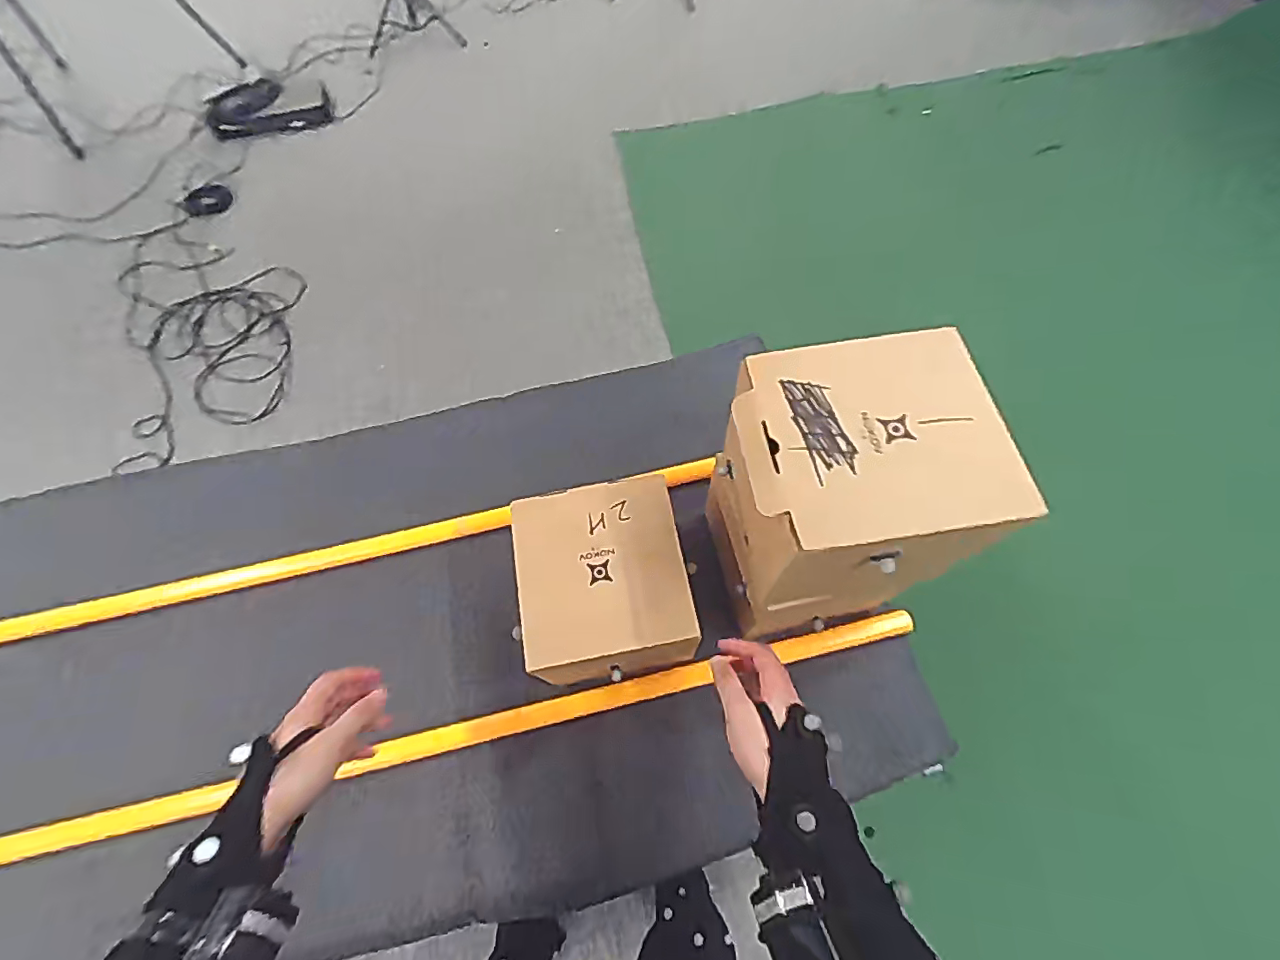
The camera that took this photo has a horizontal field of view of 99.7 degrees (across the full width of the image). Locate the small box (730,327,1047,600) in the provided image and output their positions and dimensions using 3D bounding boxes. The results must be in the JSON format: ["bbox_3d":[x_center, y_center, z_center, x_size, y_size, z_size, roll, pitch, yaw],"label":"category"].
[{"bbox_3d":[0.180,-0.003,0.464,0.179,0.176,0.168,-8,66,-2],"label":"small box"}]
